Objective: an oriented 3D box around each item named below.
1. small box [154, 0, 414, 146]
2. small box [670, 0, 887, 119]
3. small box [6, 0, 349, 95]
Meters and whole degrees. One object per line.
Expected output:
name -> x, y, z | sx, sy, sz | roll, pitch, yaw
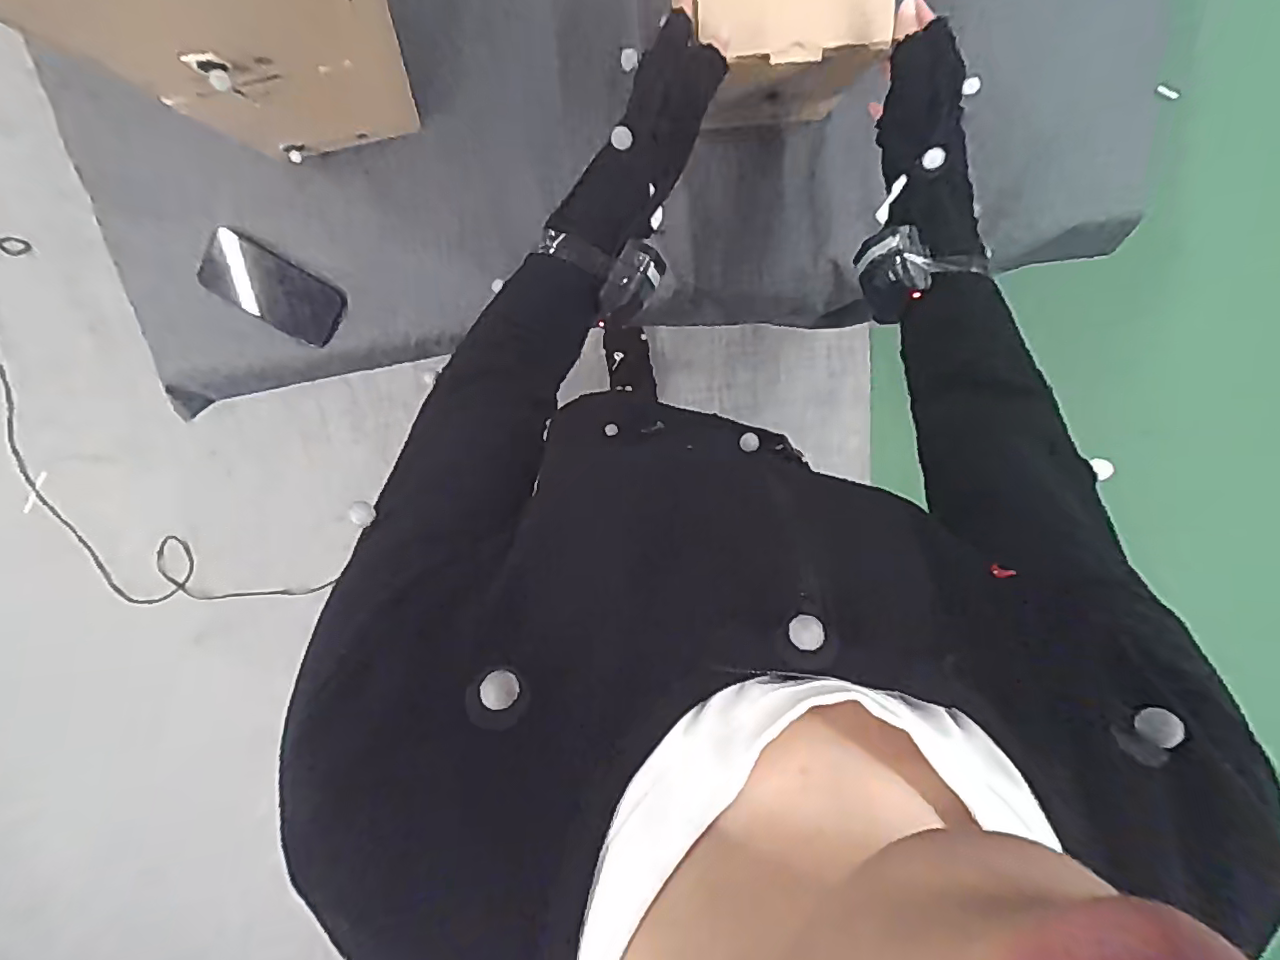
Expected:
small box -> -0.336, -0.435, 0.500 | 0.168, 0.176, 0.179 | -12, 105, 1
small box -> 0.119, -0.466, 0.511 | 0.168, 0.176, 0.179 | -5, 107, -1
small box -> -0.327, -0.391, 0.345 | 0.168, 0.176, 0.179 | -12, 108, 2
